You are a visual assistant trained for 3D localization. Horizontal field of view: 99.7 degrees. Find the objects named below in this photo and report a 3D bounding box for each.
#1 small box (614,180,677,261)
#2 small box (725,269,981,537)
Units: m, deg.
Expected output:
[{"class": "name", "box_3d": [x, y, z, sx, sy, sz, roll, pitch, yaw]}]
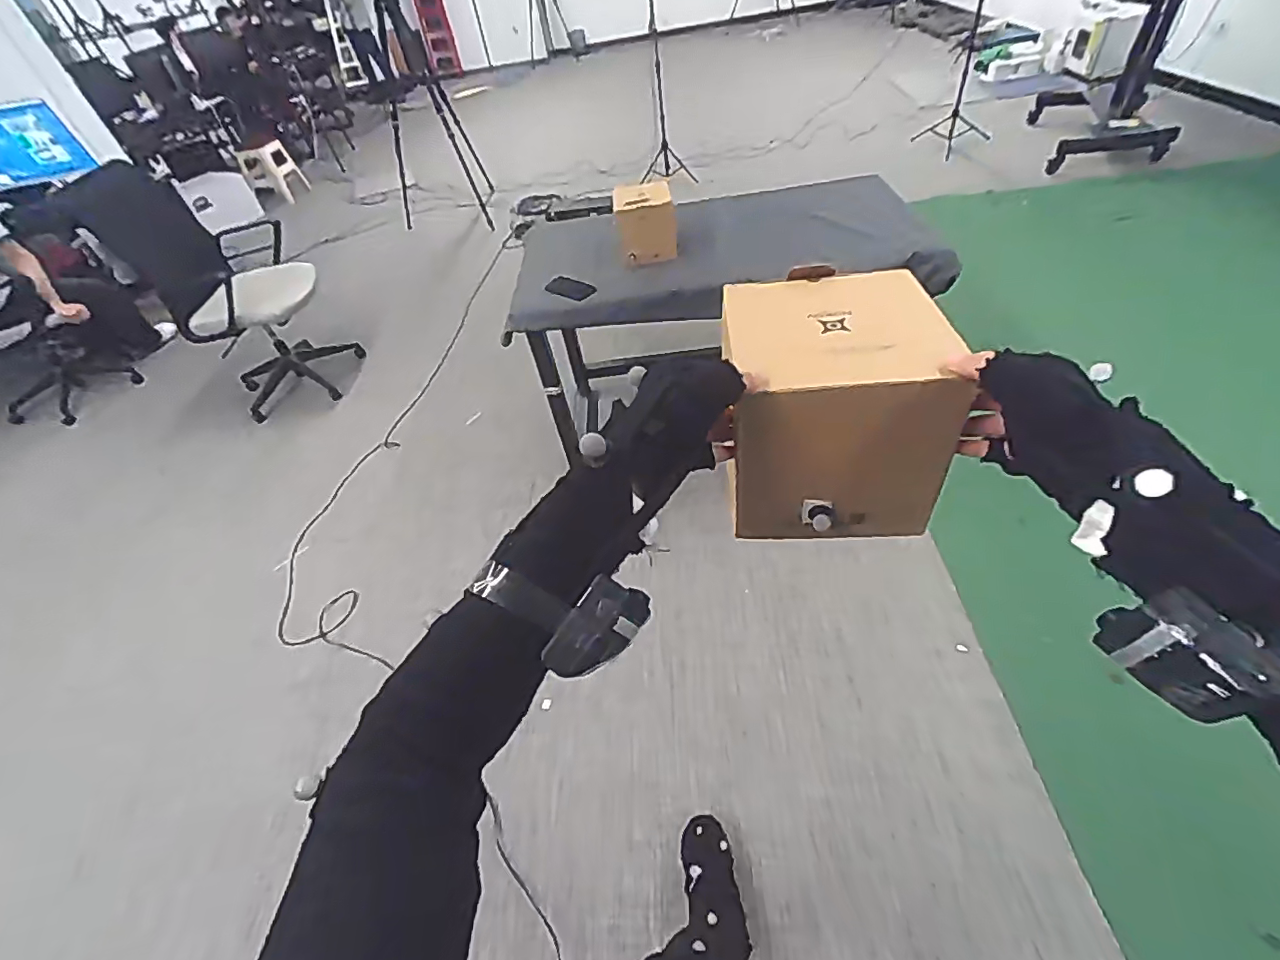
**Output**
[{"class": "small box", "box_3d": [0.017, -0.768, 1.615, 0.168, 0.176, 0.179, -7, 46, 3]}, {"class": "small box", "box_3d": [0.165, -0.068, 0.492, 0.168, 0.176, 0.179, -3, 46, 7]}]
